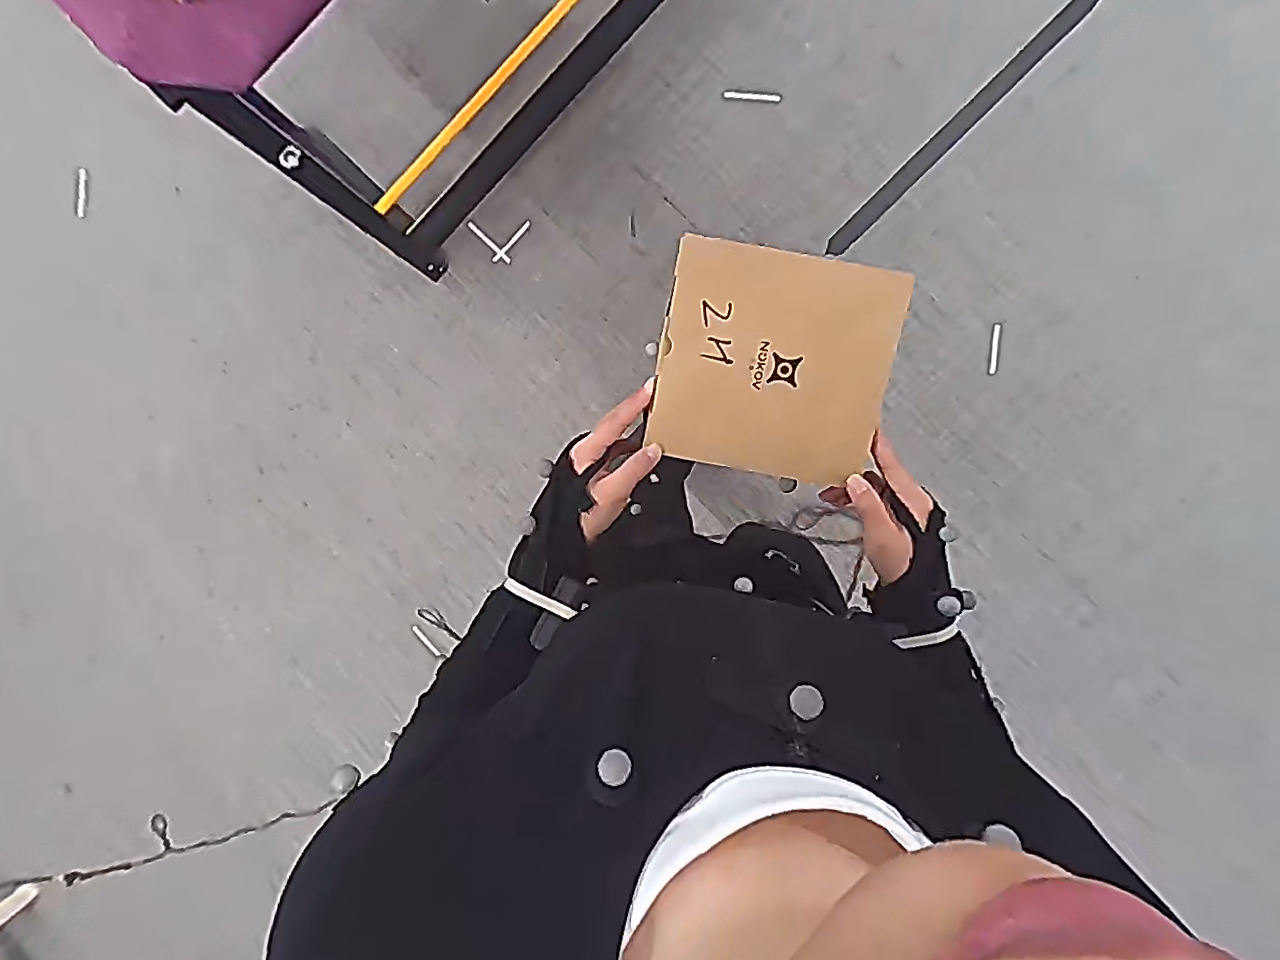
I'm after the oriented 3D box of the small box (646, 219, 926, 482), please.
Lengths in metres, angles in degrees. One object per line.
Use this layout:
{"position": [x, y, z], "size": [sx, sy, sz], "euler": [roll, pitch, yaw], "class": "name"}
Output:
{"position": [0.108, -0.108, 0.478], "size": [0.179, 0.176, 0.168], "euler": [11, 101, 1], "class": "small box"}
